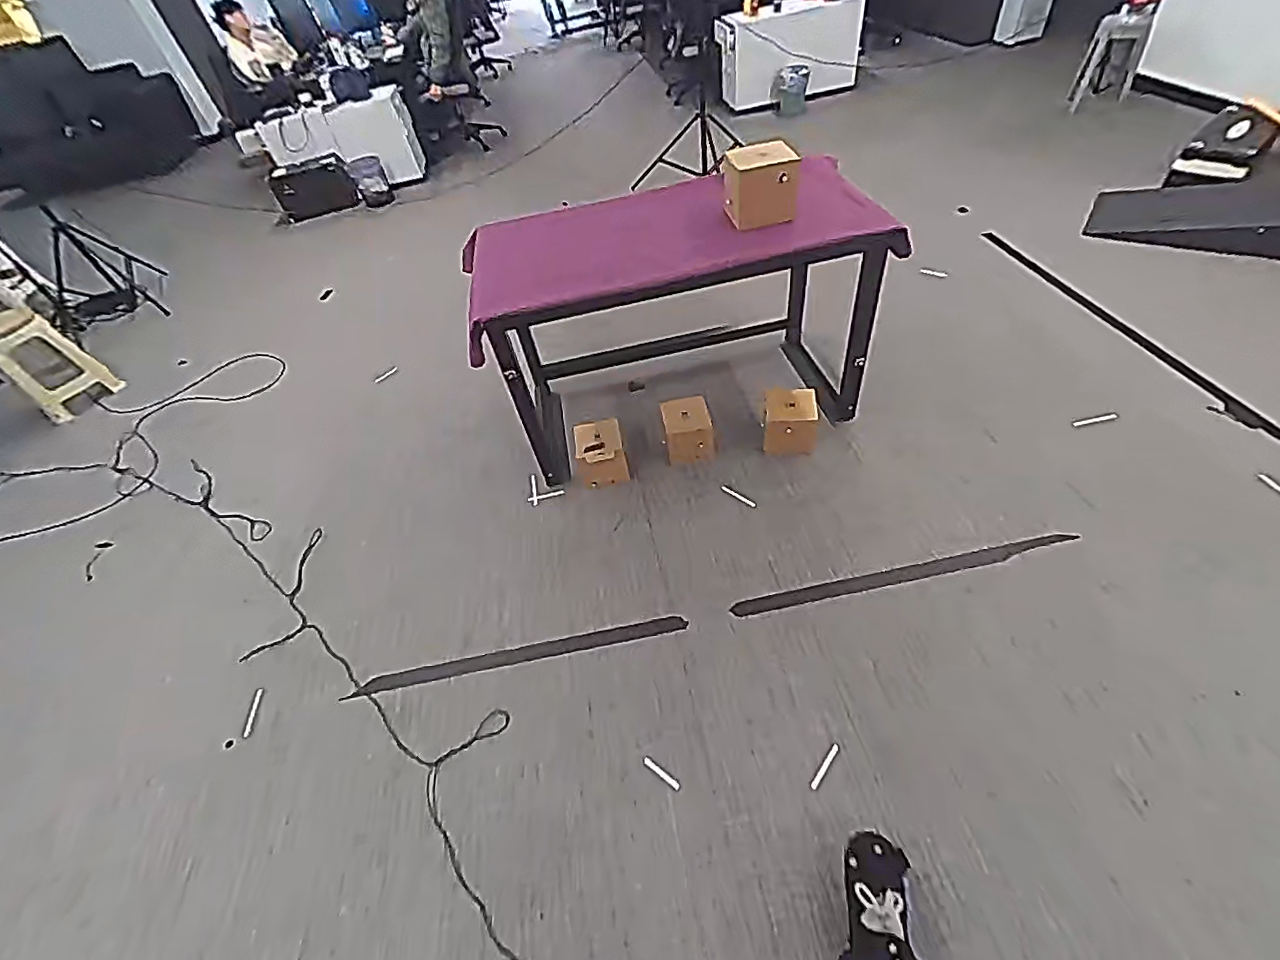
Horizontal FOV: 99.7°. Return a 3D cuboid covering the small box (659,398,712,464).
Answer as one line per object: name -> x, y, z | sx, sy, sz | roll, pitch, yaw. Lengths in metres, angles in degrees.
small box -> 0.171, -0.175, 2.004 | 0.168, 0.176, 0.179 | -11, 47, 0

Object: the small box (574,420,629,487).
small box -> -0.141, -0.090, 1.982 | 0.168, 0.176, 0.179 | -12, 47, 0

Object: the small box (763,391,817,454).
small box -> 0.540, -0.205, 1.964 | 0.179, 0.176, 0.168 | -1, 50, 11

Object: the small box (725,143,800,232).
small box -> 0.354, -0.855, 1.587 | 0.179, 0.176, 0.168 | -12, 47, 1
